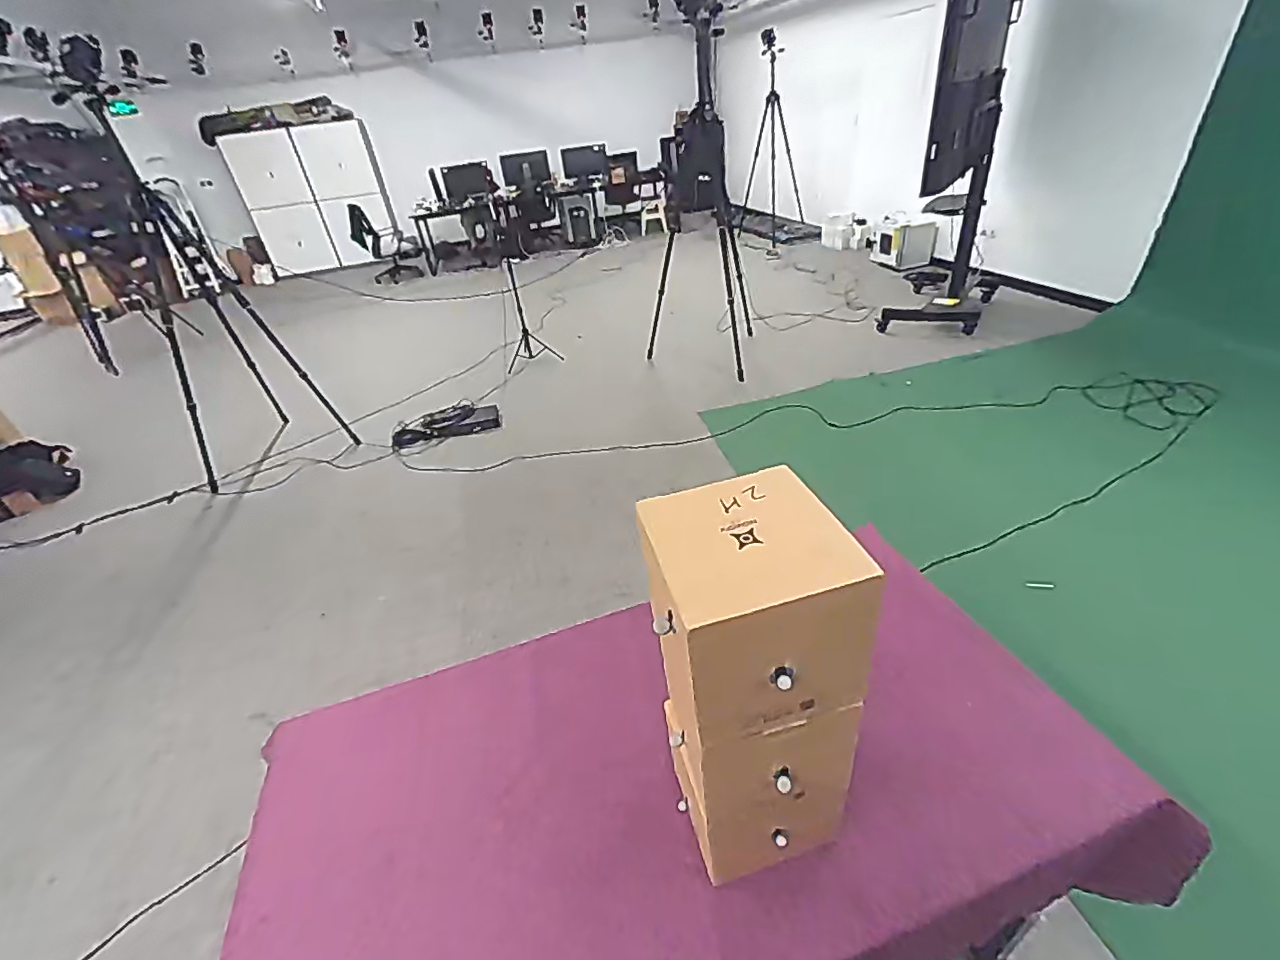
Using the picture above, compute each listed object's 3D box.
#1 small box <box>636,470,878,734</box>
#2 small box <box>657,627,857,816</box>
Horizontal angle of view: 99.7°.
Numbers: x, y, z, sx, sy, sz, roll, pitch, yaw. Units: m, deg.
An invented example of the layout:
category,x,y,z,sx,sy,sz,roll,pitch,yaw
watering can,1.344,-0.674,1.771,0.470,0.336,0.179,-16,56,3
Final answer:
category,x,y,z,sx,sy,sz,roll,pitch,yaw
small box,0.103,0.119,0.528,0.168,0.176,0.179,-13,34,-7
small box,0.124,0.254,0.622,0.168,0.176,0.179,-12,35,-6
